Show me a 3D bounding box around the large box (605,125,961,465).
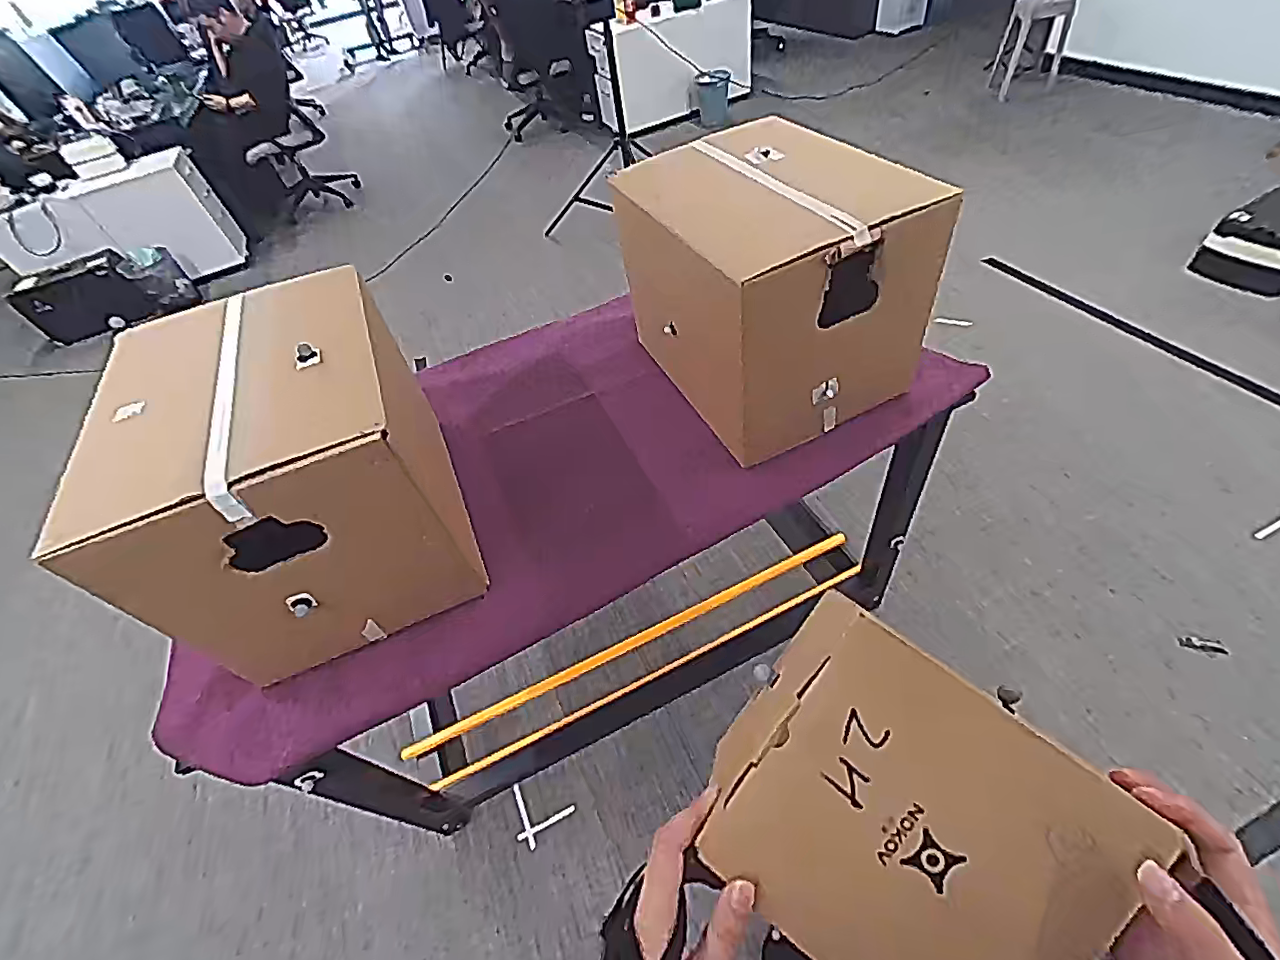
[{"bbox_3d":[0.189,-0.297,0.845,0.320,0.320,0.408,-24,49,-10],"label":"large box"}]
